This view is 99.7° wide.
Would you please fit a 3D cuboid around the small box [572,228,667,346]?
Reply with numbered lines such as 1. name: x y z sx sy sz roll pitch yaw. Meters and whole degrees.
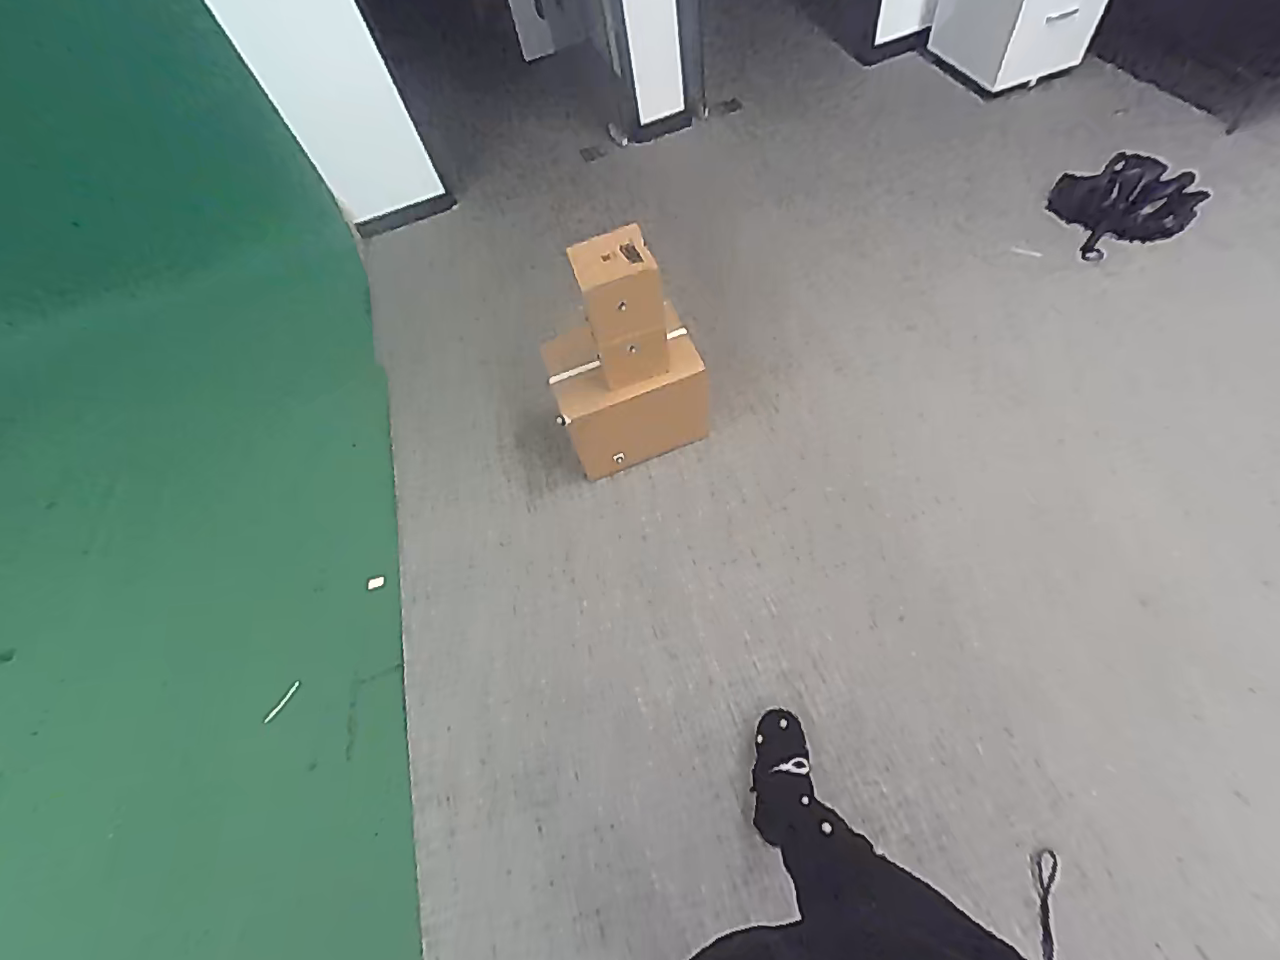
1. small box: -0.042 -0.450 1.273 0.179 0.176 0.168 -21 59 -3

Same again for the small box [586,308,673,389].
1. small box: -0.023 -0.364 1.411 0.179 0.176 0.168 -19 59 -2
